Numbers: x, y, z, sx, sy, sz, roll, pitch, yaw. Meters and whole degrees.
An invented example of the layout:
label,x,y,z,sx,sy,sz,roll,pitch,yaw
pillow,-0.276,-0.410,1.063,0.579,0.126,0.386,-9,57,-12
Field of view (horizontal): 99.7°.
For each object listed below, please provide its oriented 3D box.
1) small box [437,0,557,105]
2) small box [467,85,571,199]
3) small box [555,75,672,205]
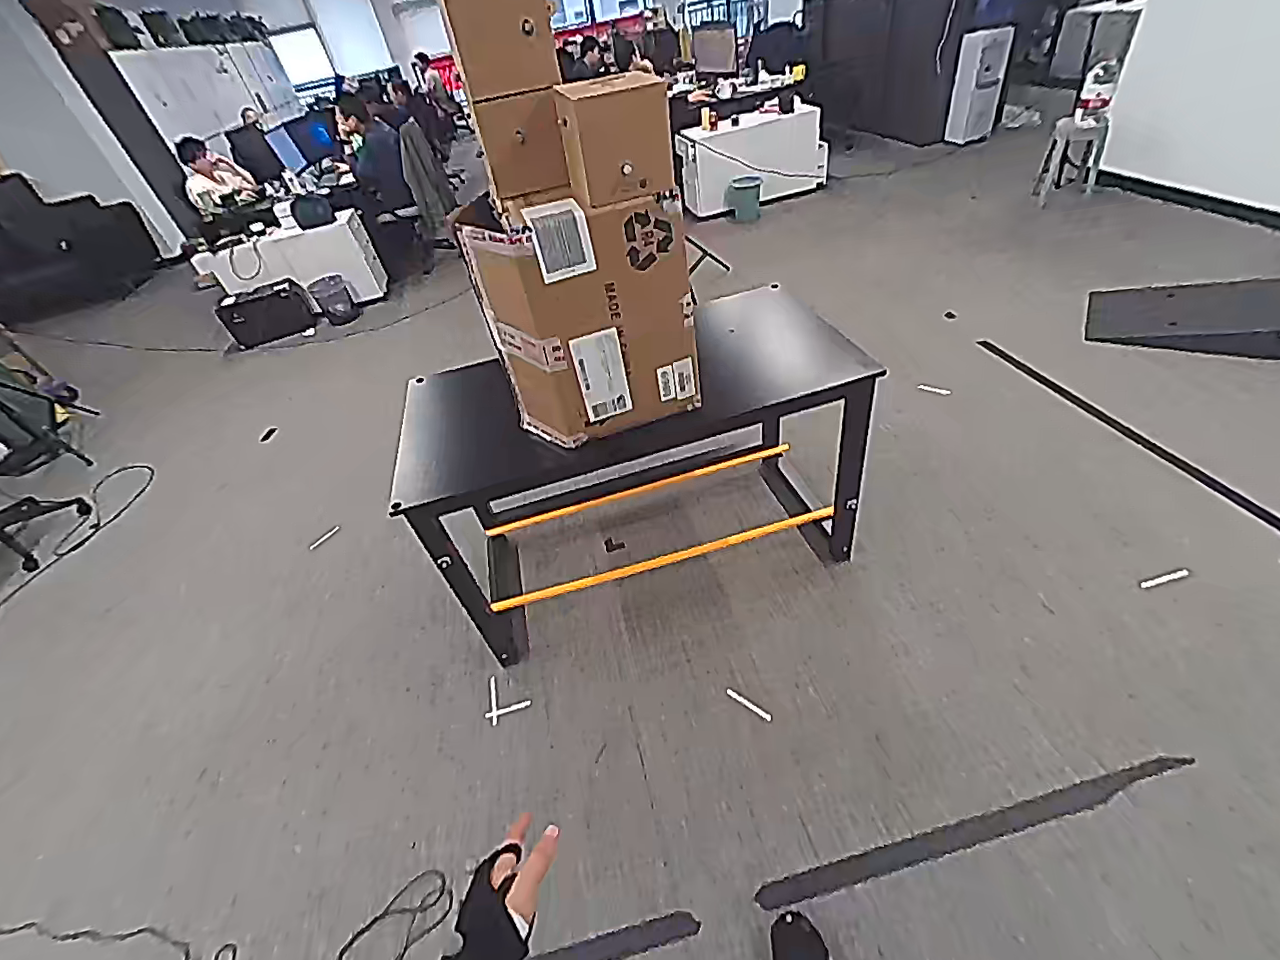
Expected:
label,x,y,z,sx,sy,sz,roll,pitch,yaw
small box,-0.264,-0.821,1.012,0.179,0.176,0.168,-19,39,-9
small box,-0.242,-0.699,1.120,0.179,0.176,0.168,-18,40,-8
small box,-0.048,-0.625,0.996,0.168,0.176,0.179,-17,43,-8
